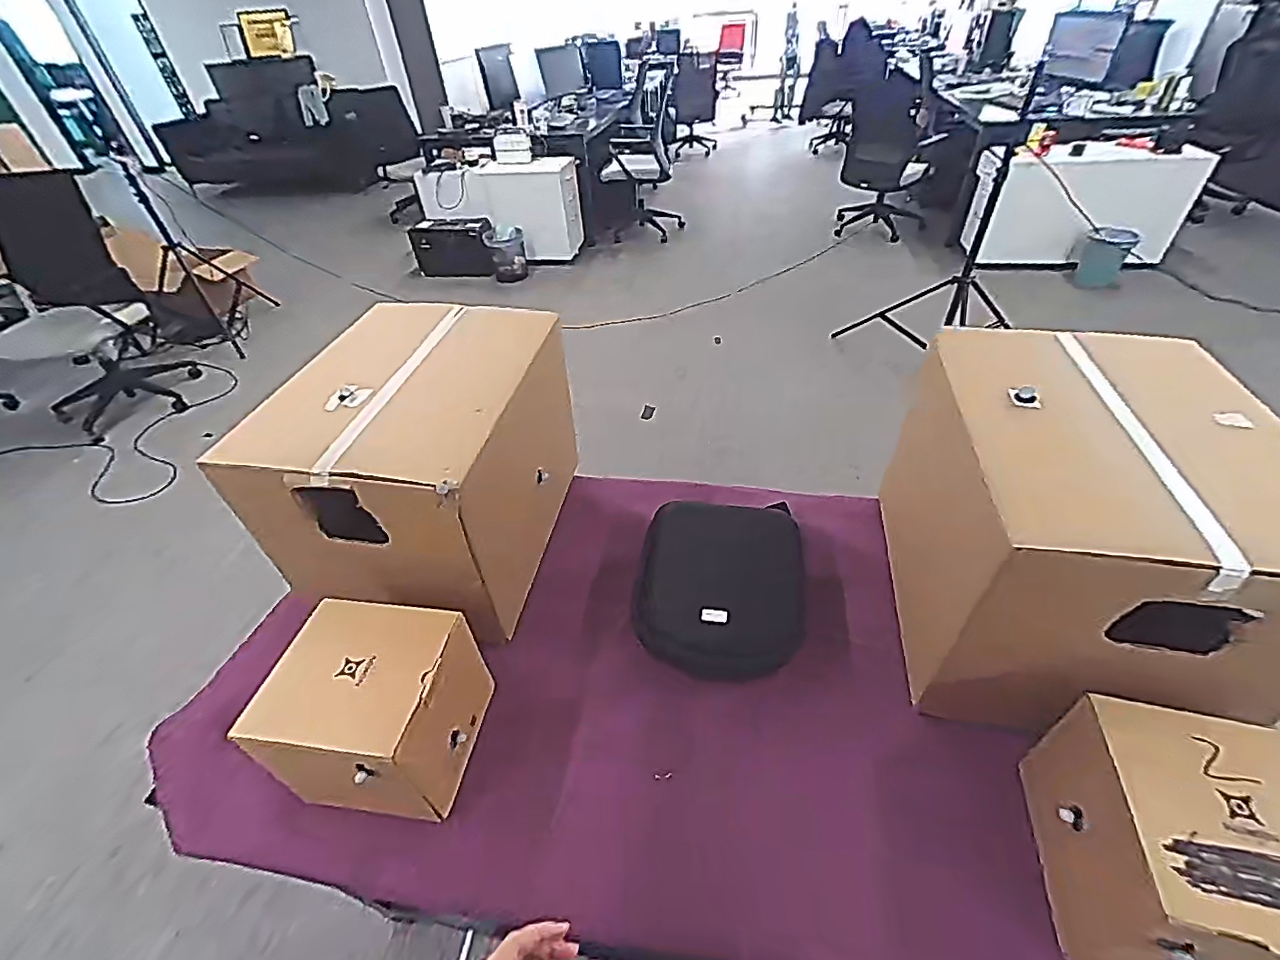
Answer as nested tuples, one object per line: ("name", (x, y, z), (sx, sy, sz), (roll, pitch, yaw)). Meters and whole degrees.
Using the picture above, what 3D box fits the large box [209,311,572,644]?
("large box", (-0.307, -0.018, 0.831), (0.320, 0.320, 0.408), (4, 44, 8))

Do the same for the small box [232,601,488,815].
("small box", (-0.298, 0.261, 0.623), (0.179, 0.176, 0.168), (3, 41, 7))
